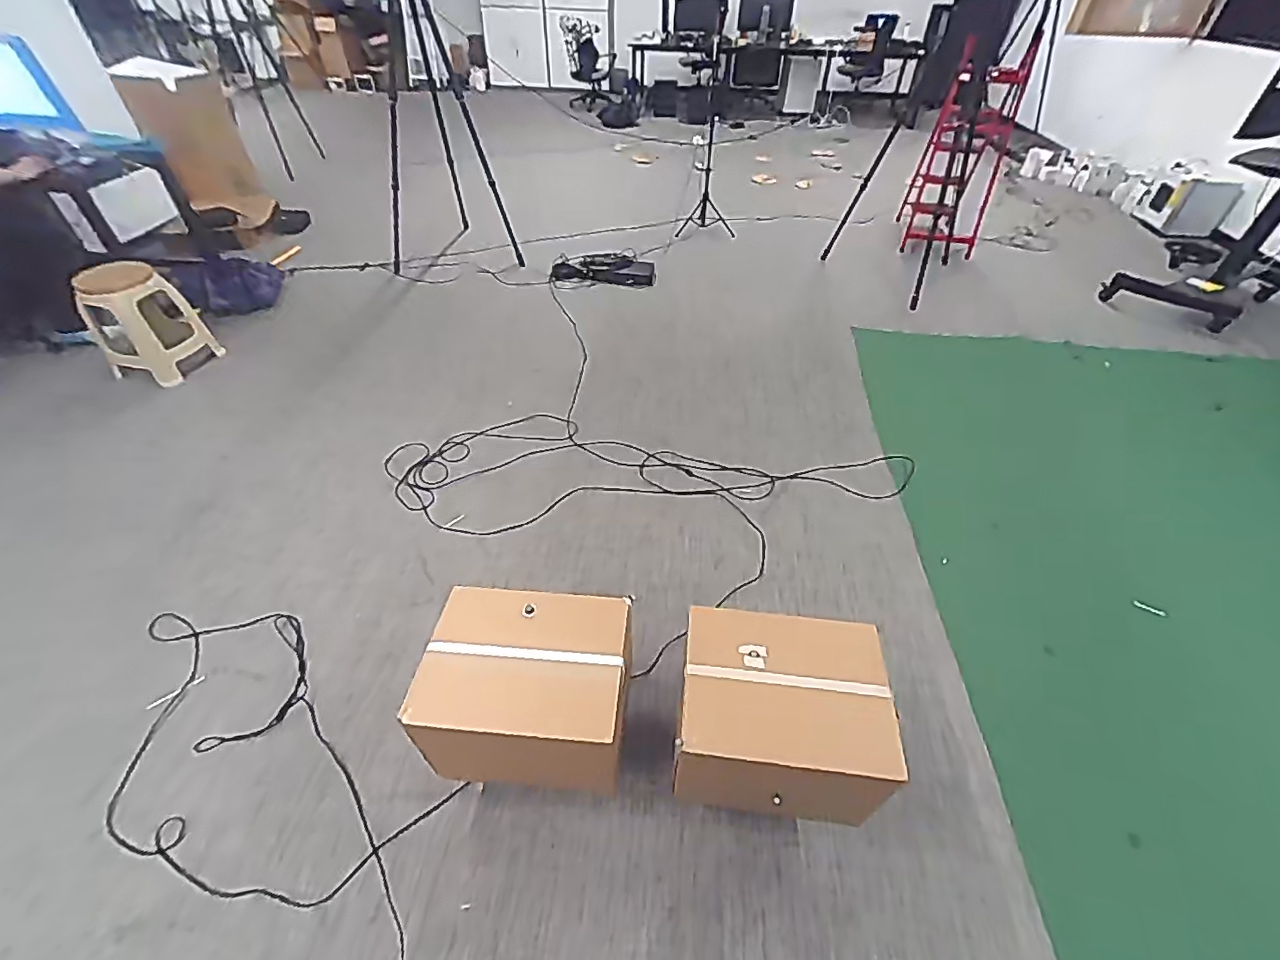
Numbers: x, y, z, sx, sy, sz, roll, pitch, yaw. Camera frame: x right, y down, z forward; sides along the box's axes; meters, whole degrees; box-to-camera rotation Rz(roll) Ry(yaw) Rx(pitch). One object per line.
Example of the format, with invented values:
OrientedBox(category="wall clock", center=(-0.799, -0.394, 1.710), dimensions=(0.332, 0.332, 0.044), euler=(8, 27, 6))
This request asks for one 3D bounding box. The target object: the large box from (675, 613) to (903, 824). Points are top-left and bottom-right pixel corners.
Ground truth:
OrientedBox(category="large box", center=(0.294, 0.524, 1.189), dimensions=(0.408, 0.320, 0.320), euler=(5, 44, 5))
